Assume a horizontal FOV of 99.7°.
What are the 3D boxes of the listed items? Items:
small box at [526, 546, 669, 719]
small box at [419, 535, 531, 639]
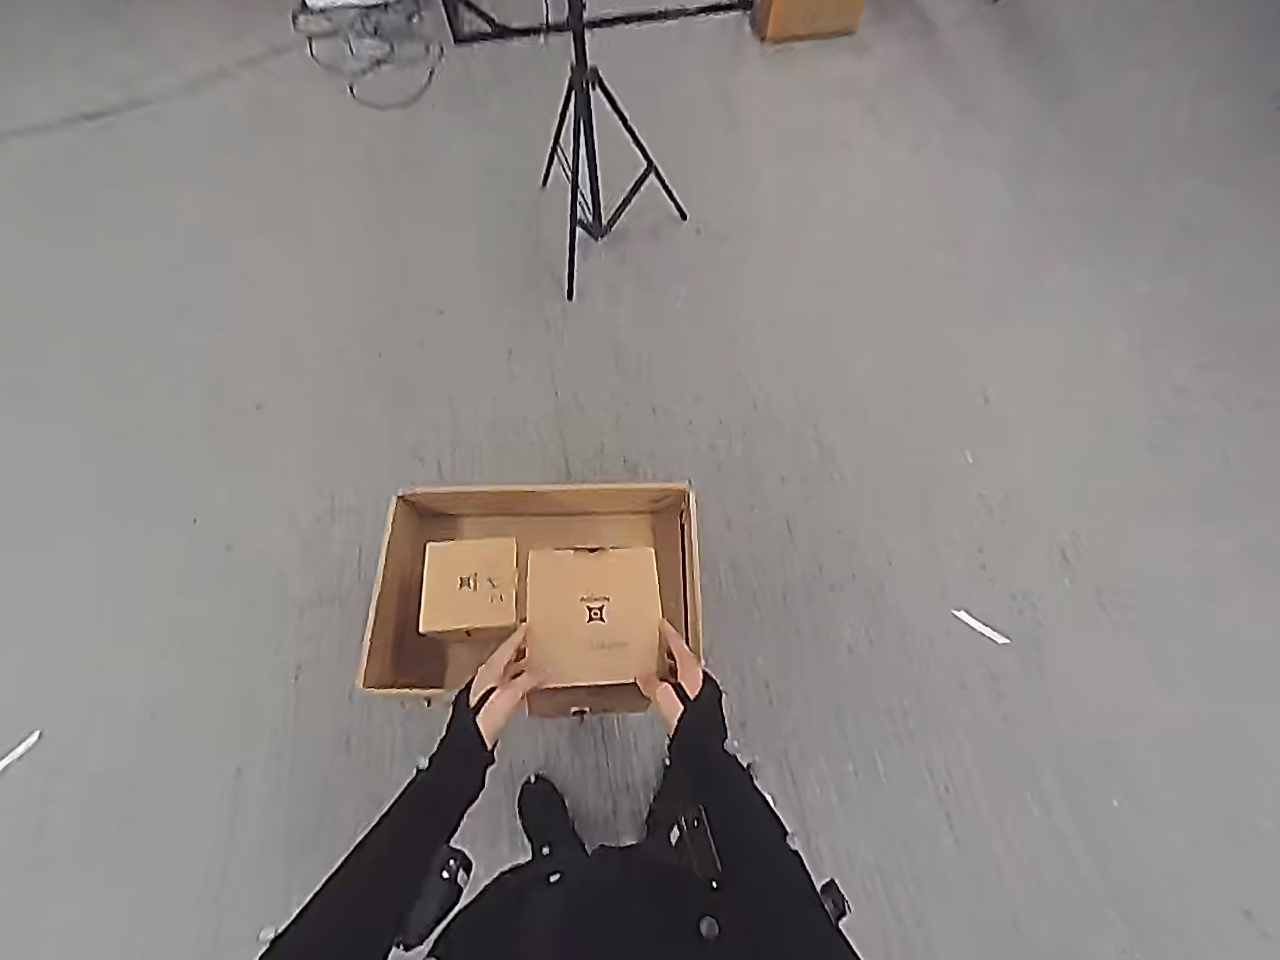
[{"bbox_3d":[-0.065,0.204,0.719,0.168,0.176,0.179,0,55,-10],"label":"small box"},{"bbox_3d":[-0.311,0.216,1.065,0.179,0.176,0.168,-3,67,-1],"label":"small box"}]
